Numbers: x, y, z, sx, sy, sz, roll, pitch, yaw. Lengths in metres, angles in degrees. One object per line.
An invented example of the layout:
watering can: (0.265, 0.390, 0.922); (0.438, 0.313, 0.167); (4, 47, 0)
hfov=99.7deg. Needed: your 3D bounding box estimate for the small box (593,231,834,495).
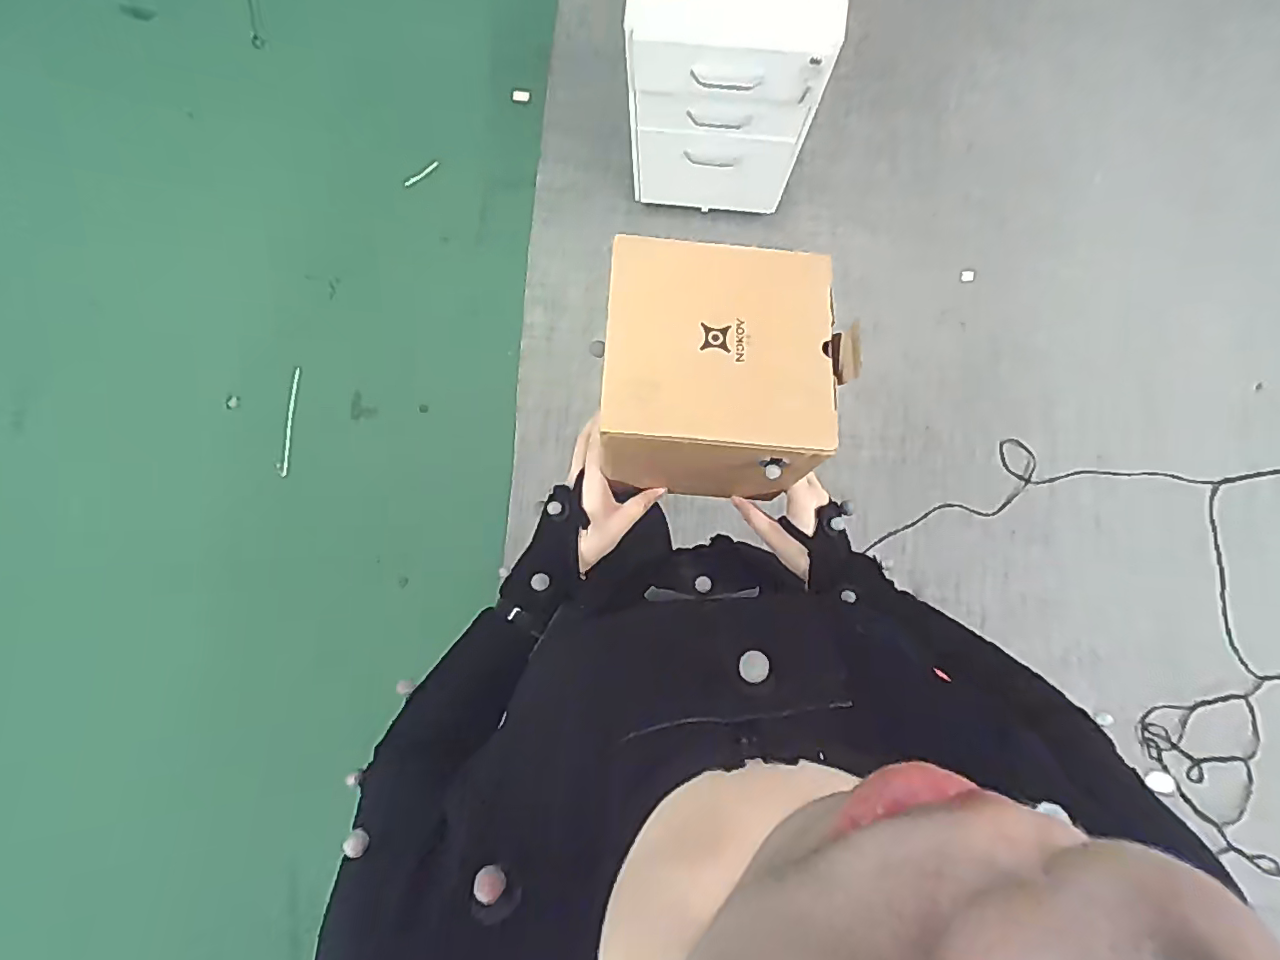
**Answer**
small box: (0.053, -0.088, 0.481); (0.179, 0.176, 0.168); (5, 75, -4)
